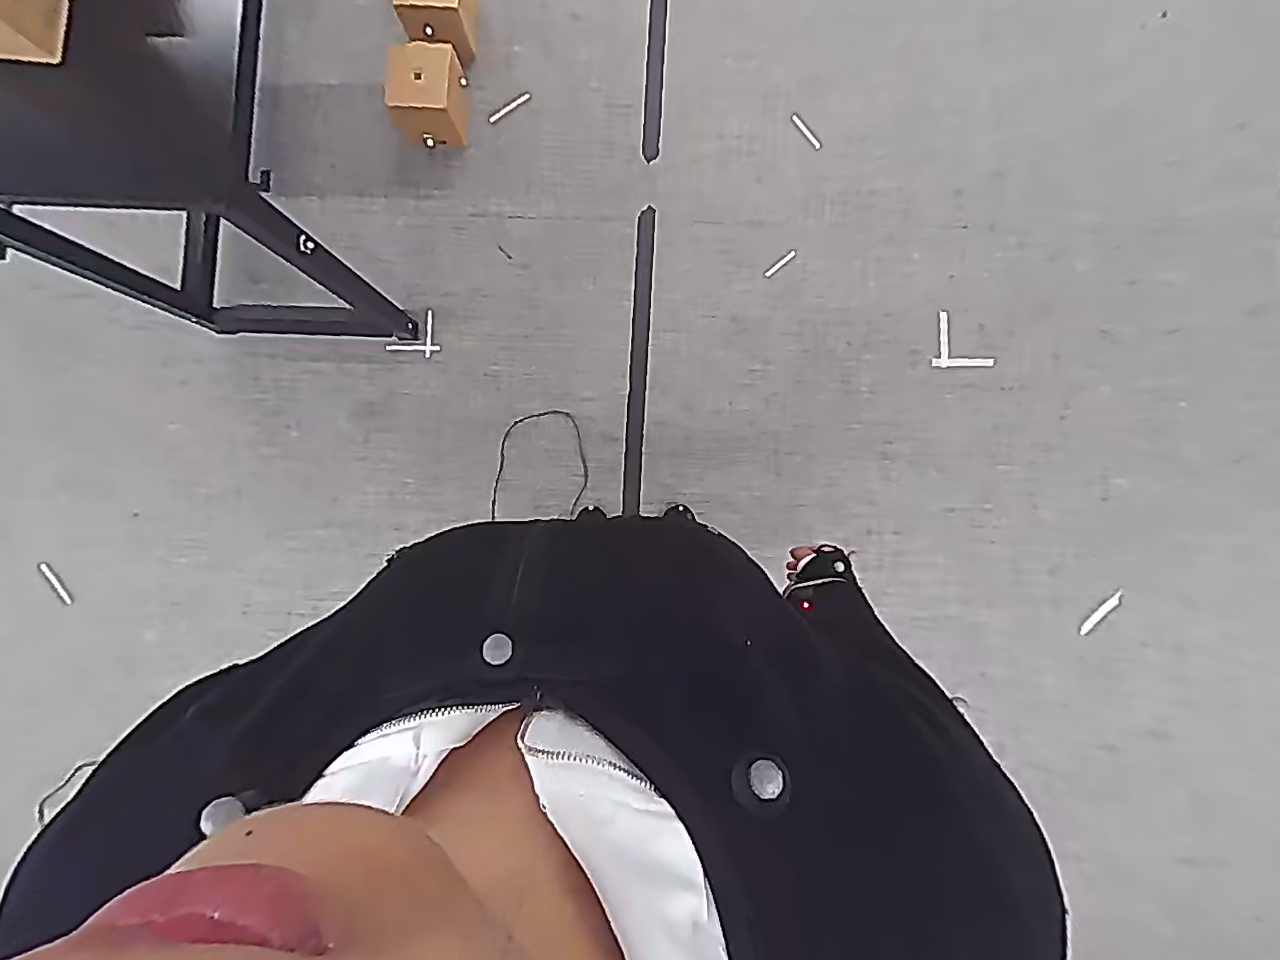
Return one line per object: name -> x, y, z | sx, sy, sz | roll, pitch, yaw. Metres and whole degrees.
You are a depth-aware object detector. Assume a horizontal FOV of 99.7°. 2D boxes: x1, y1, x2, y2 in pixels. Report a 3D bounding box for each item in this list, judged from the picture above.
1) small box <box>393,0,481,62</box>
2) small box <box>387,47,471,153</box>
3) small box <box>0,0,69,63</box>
small box -> -0.558, -1.305, 1.502 | 0.179, 0.176, 0.168 | 2, 88, 1
small box -> -0.574, -1.043, 1.491 | 0.168, 0.176, 0.179 | 2, 88, 1
small box -> -0.955, -0.722, 0.746 | 0.179, 0.176, 0.168 | 6, 87, 1
